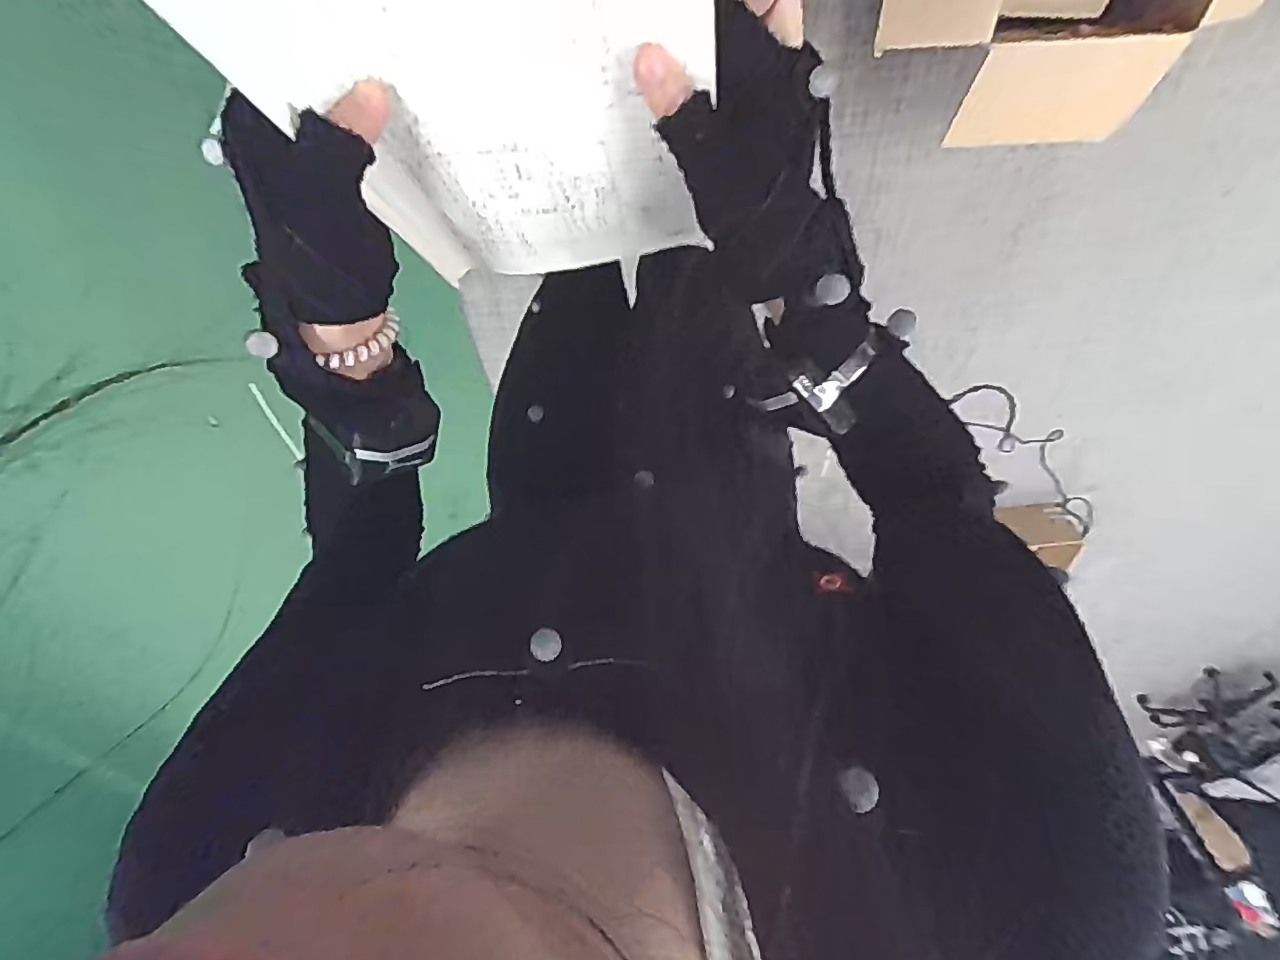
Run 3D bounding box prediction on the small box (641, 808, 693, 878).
[{"bbox_3d":[0.090,1.252,1.865,0.168,0.176,0.179,-3,133,0],"label":"small box"}]
